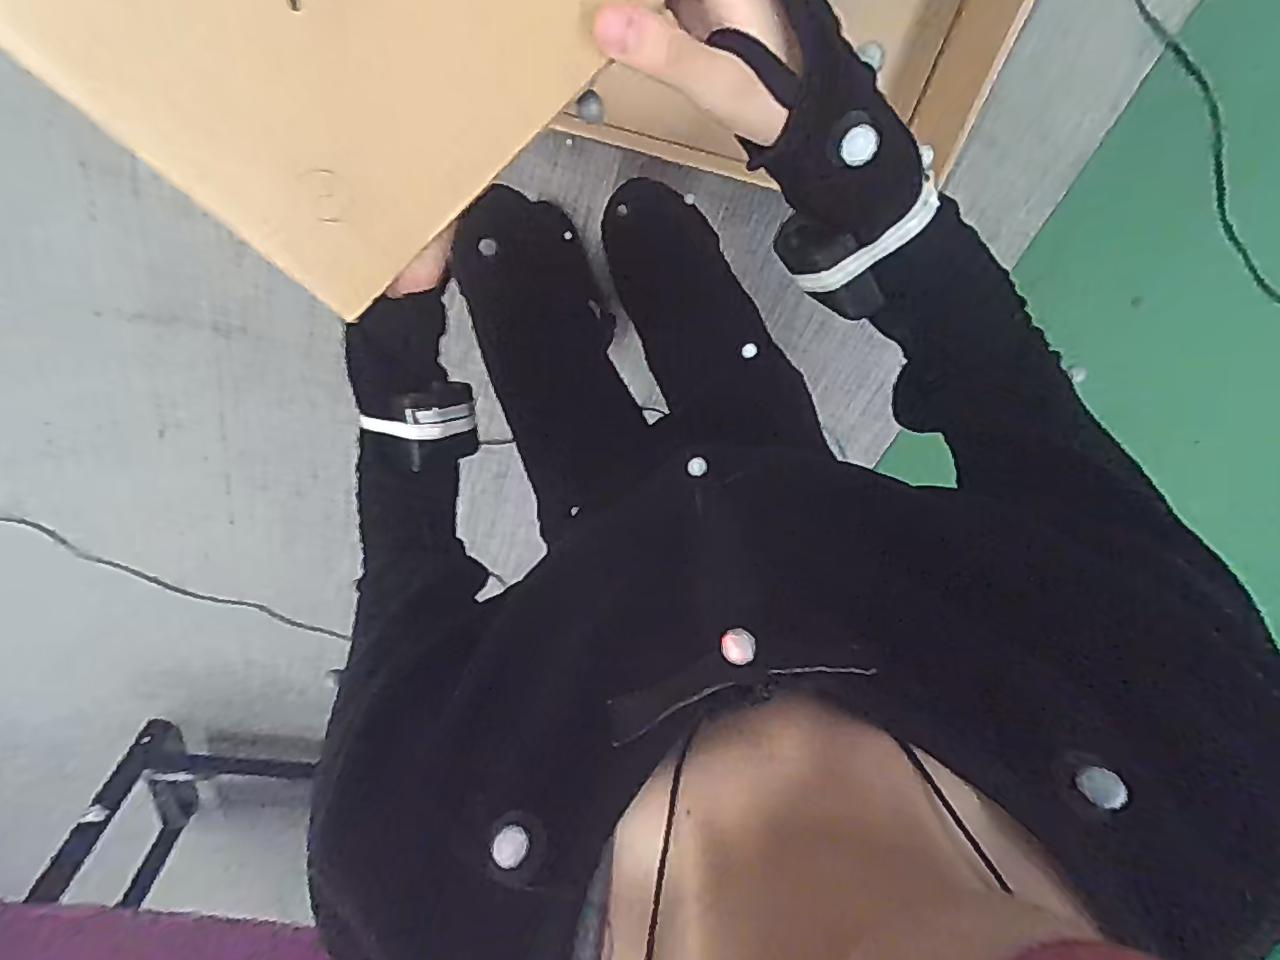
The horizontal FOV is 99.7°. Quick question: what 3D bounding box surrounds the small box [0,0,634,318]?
[{"bbox_3d":[-0.134,-0.210,0.235,0.179,0.176,0.168,-40,128,10],"label":"small box"}]
